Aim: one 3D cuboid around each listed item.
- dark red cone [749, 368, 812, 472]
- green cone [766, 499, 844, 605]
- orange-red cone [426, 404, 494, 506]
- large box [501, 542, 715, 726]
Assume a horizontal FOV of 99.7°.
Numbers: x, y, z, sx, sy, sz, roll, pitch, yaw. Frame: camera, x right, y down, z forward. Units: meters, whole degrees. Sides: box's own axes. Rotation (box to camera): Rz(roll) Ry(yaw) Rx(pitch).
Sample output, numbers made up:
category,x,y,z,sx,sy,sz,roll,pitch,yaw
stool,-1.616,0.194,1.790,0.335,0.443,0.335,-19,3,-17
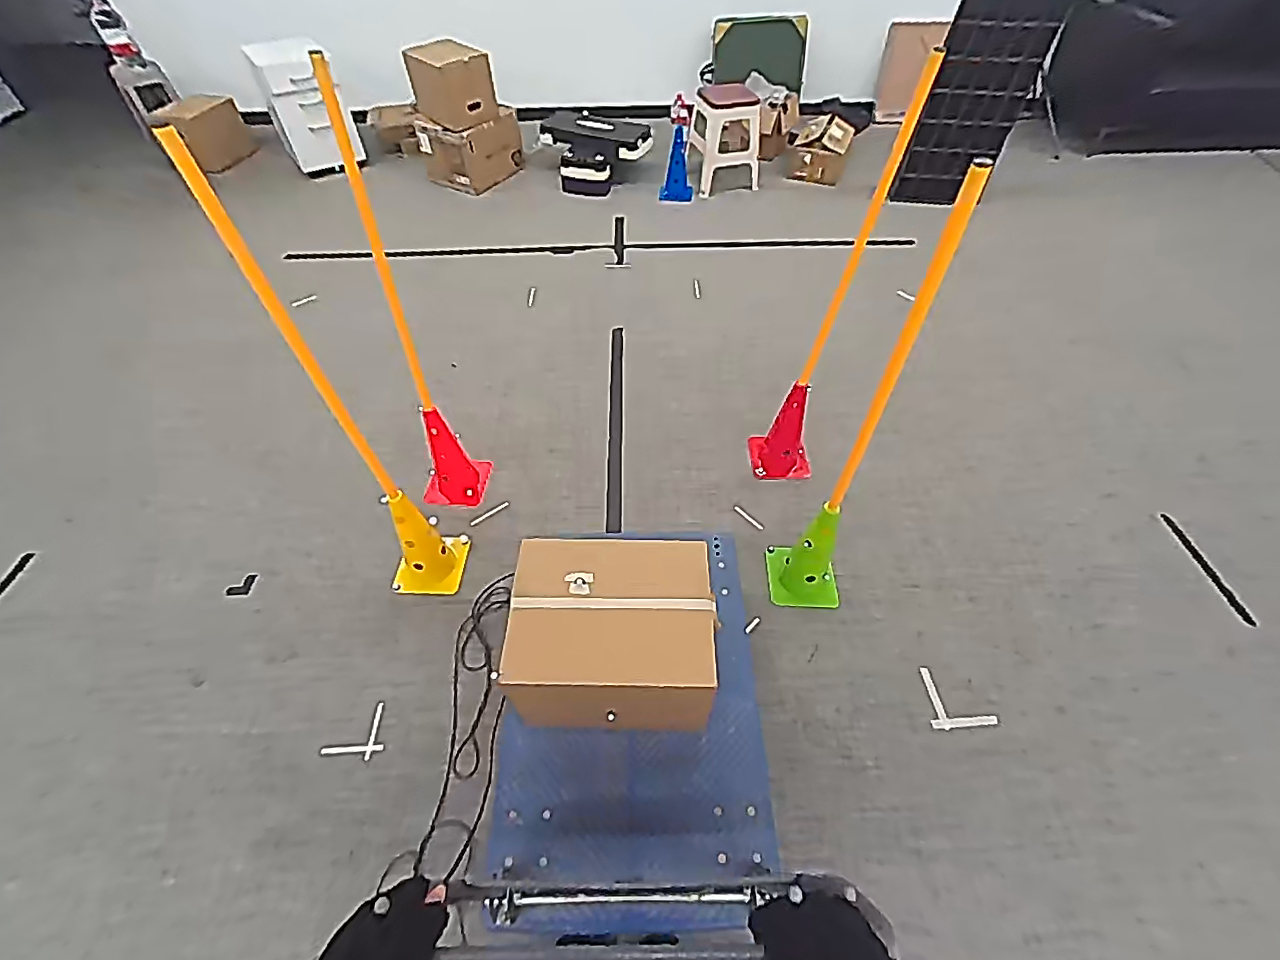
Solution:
category,x,y,z,sx,sy,sz,roll,pitch,yaw
dark red cone,0.504,-0.208,1.810,0.201,0.394,0.202,0,51,-2
green cone,0.494,0.180,1.519,0.202,0.368,0.200,3,51,1
orange-red cone,-0.625,-0.104,1.759,0.198,0.360,0.199,5,50,3
large box,-0.055,0.349,1.202,0.408,0.320,0.320,0,51,2
